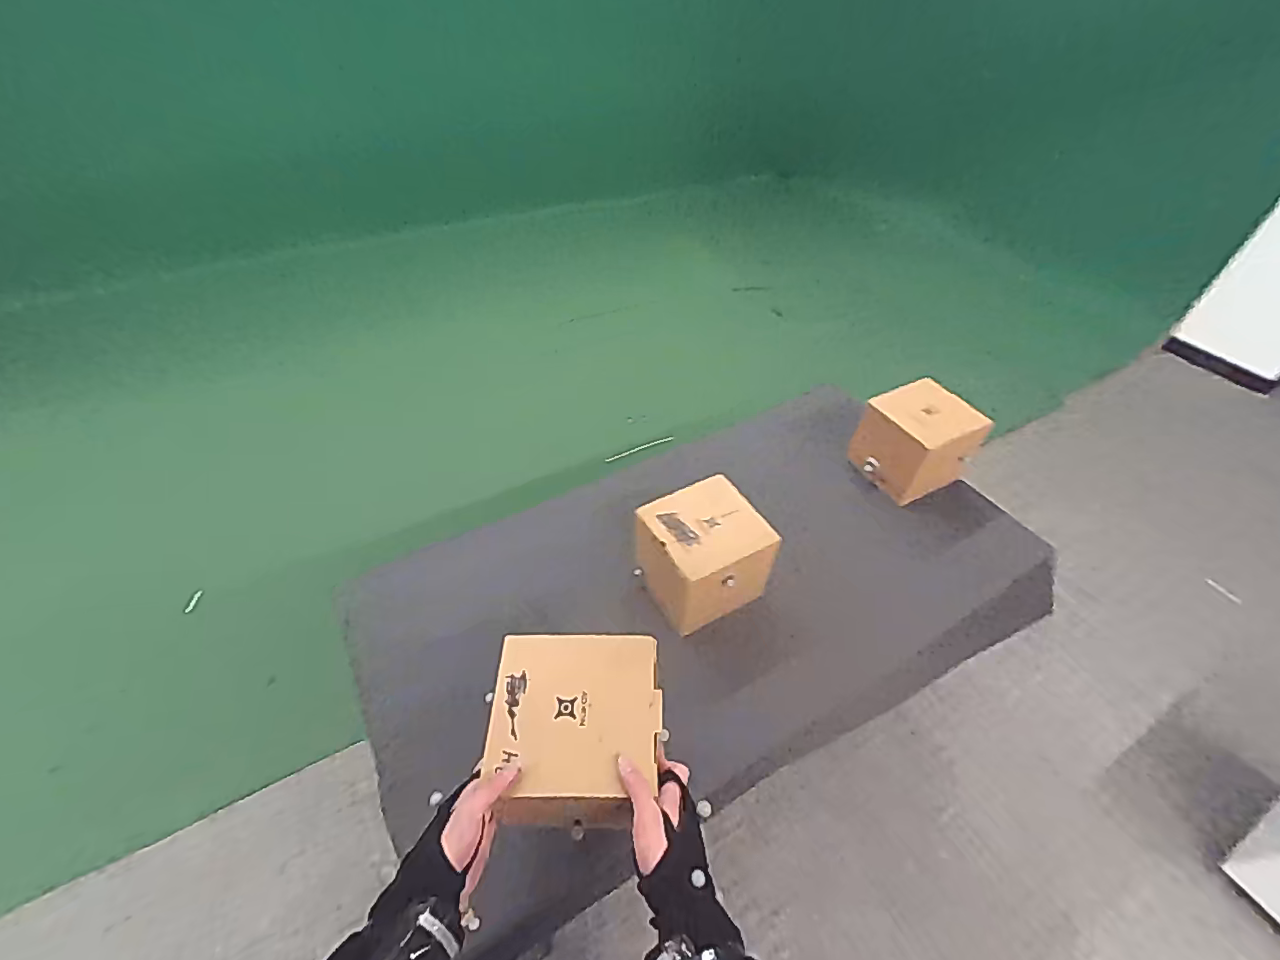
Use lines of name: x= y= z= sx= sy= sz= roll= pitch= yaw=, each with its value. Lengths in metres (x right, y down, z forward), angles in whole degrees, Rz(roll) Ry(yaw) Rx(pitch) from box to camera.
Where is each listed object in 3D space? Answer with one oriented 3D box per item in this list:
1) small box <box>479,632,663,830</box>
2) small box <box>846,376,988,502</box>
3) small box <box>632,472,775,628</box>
small box: x=-0.066 y=0.291 z=0.623 sx=0.179 sy=0.176 sz=0.168 roll=1 pitch=48 yaw=0
small box: x=0.565 y=-0.085 z=1.129 sx=0.179 sy=0.176 sz=0.168 roll=-22 pitch=50 yaw=-19
small box: x=0.098 y=0.122 z=0.921 sx=0.179 sy=0.176 sz=0.168 roll=-21 pitch=52 yaw=-22
